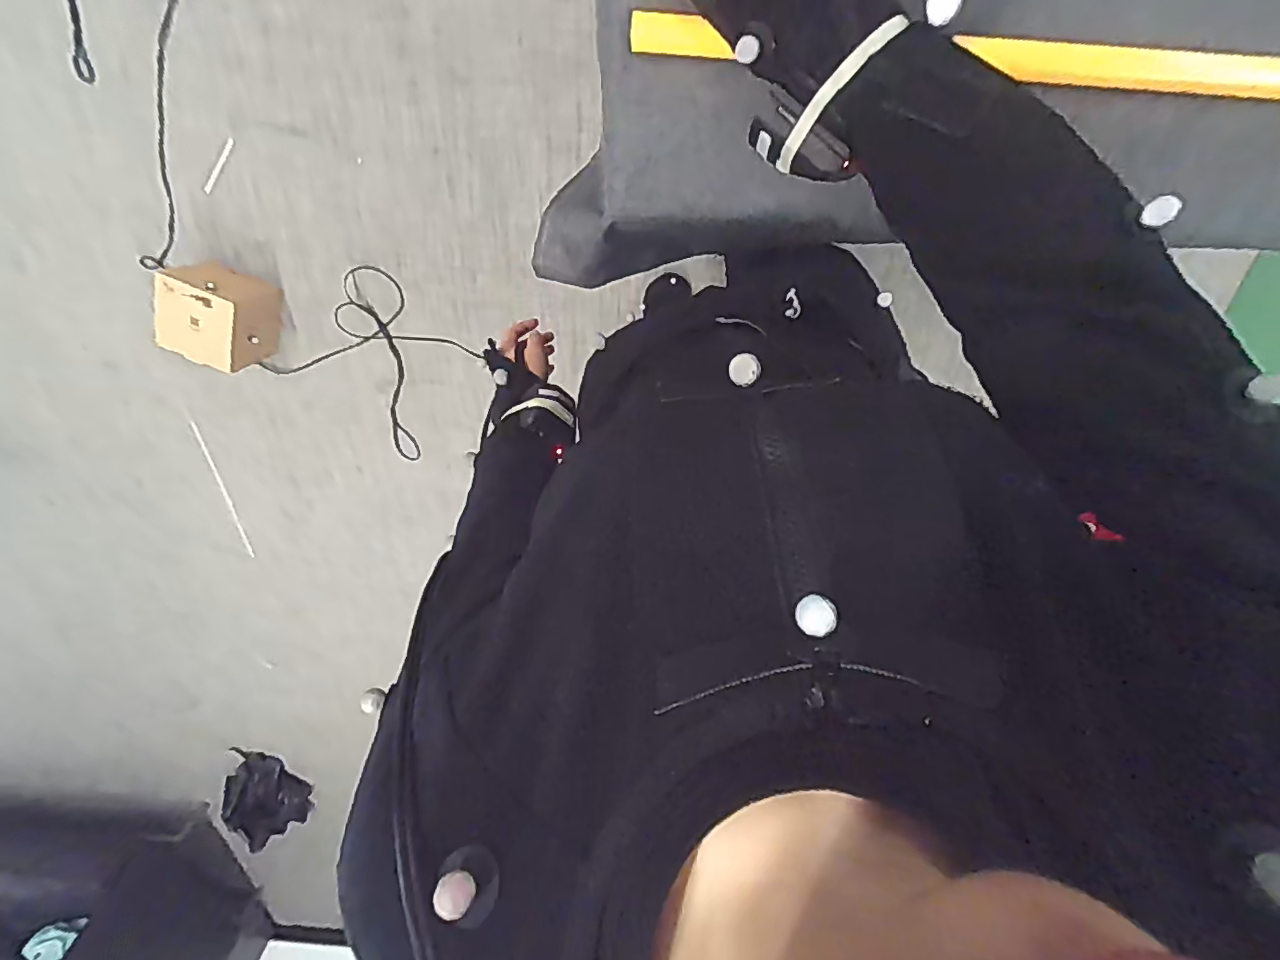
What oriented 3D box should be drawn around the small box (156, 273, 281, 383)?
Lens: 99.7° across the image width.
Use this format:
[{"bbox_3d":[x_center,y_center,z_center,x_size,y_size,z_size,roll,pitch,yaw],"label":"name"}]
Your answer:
[{"bbox_3d":[-0.970,-0.357,1.255,0.168,0.176,0.179,23,117,-8],"label":"small box"}]
